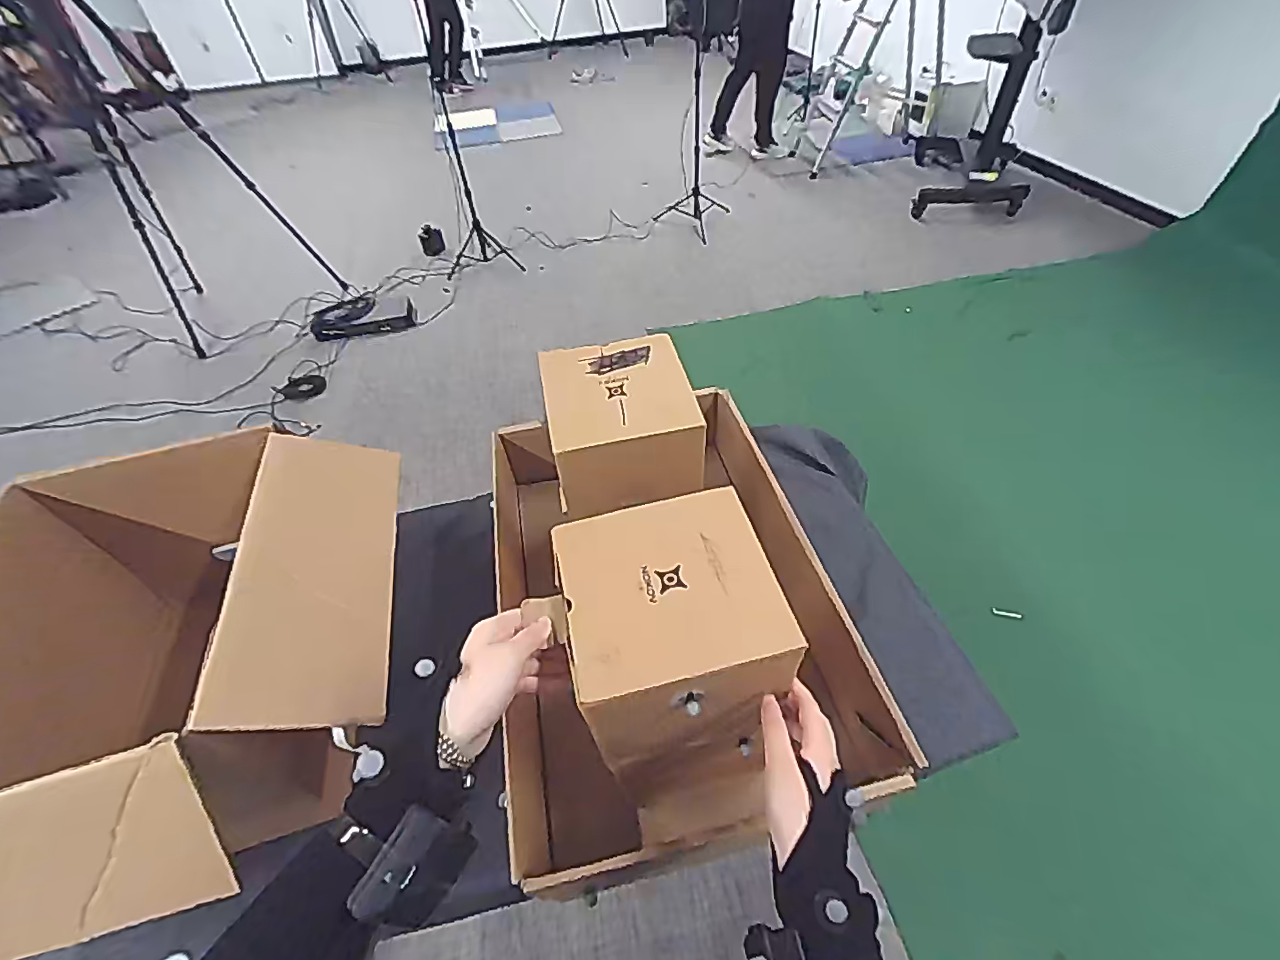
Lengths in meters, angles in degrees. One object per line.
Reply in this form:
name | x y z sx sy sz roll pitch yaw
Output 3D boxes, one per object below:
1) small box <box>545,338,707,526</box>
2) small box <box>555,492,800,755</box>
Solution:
small box | -0.021 -0.051 0.681 0.168 0.176 0.179 -10 51 -5
small box | 0.028 0.140 0.514 0.179 0.176 0.168 -12 50 -6
